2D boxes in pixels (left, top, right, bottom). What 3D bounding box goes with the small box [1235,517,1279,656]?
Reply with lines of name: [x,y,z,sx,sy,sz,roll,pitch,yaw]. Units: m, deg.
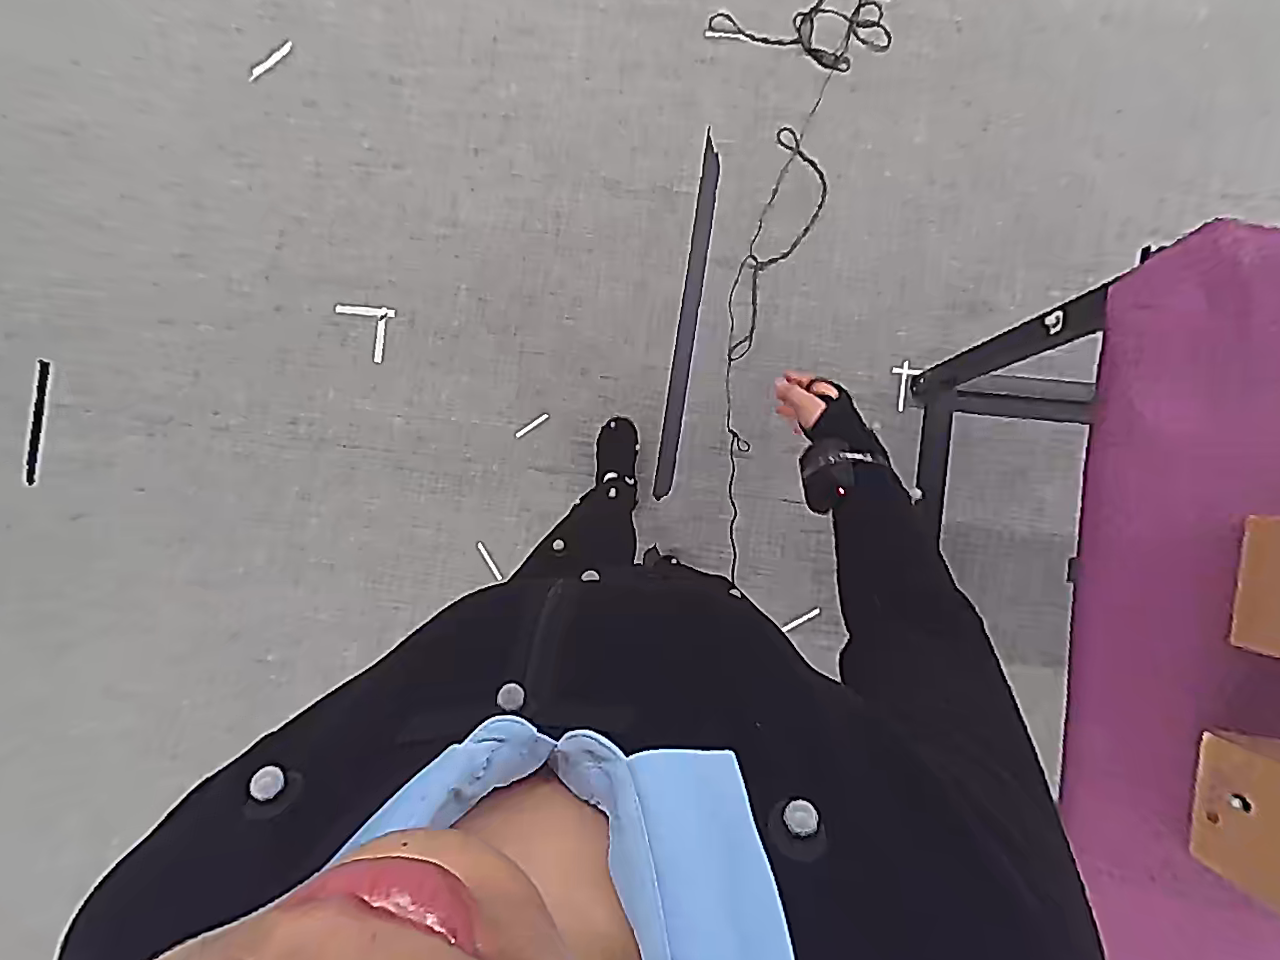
small box: [0.869,0.144,0.631,0.168,0.176,0.179,8,89,2]

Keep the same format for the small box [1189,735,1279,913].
small box: [0.817,0.421,0.629,0.179,0.176,0.168,8,89,2]
